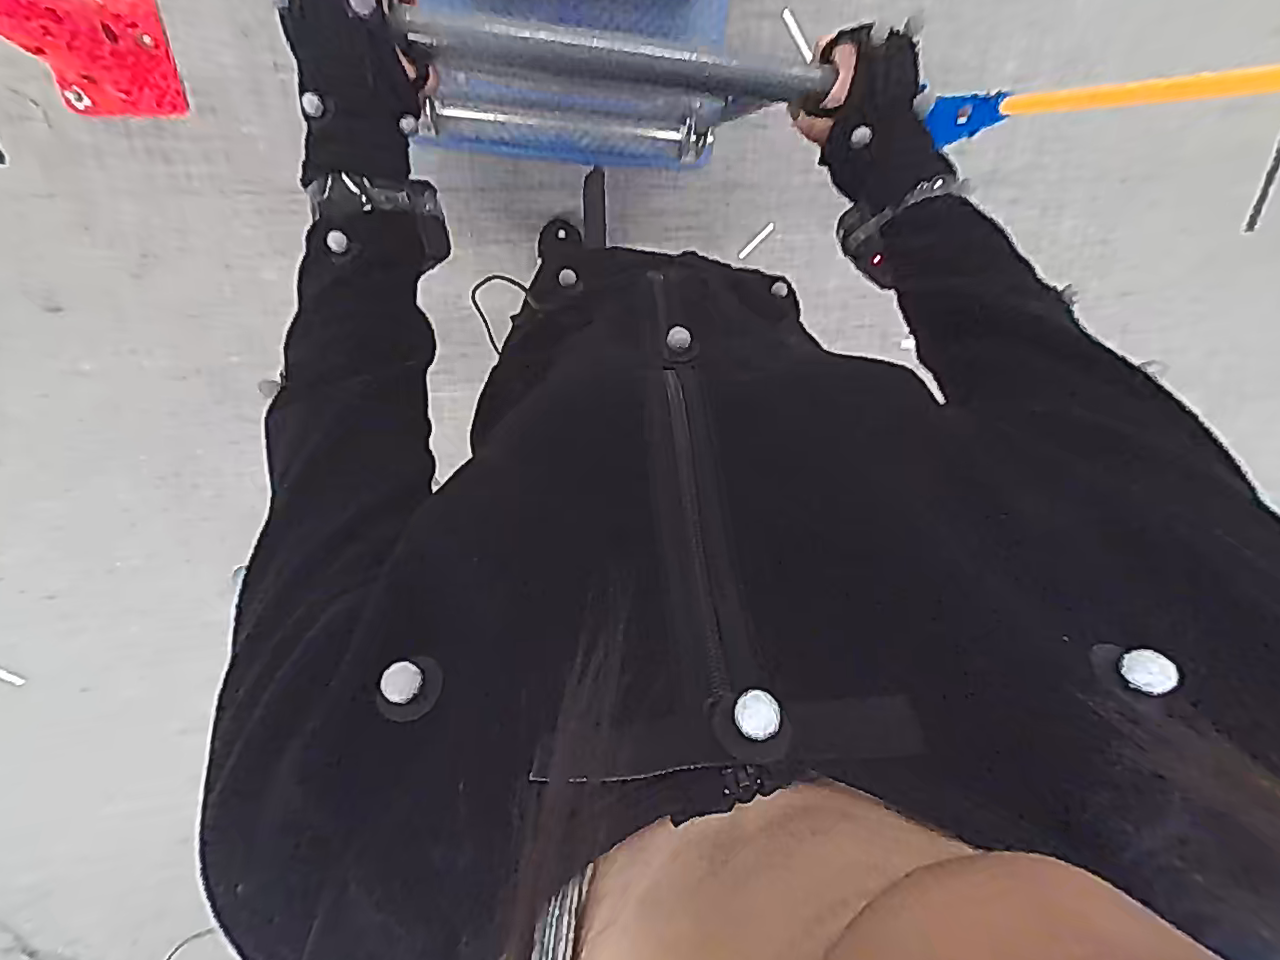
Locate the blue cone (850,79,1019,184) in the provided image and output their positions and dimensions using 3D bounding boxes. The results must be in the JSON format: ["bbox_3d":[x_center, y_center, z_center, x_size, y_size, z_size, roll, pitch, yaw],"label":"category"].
[{"bbox_3d":[0.602,-0.729,1.097,0.193,0.380,0.192,-9,114,-8],"label":"blue cone"}]
